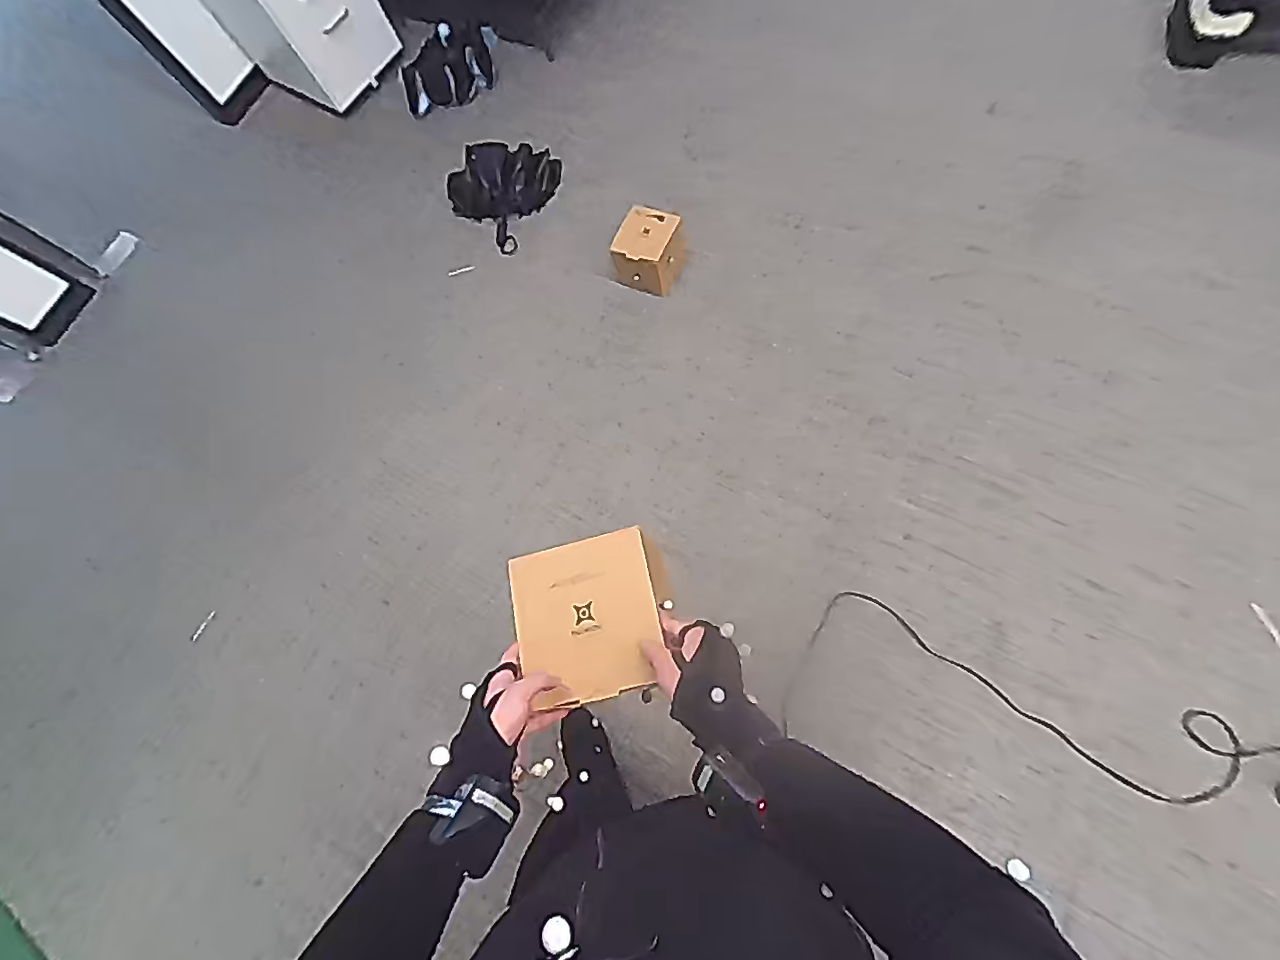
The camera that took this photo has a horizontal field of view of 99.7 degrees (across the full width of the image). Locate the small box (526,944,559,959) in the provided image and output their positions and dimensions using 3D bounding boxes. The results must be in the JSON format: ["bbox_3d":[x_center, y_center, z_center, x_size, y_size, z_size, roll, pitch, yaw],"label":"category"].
[{"bbox_3d":[-0.232,1.161,1.148,0.168,0.176,0.179,32,80,19],"label":"small box"}]

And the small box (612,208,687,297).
[{"bbox_3d":[0.037,-0.709,1.700,0.168,0.176,0.179,23,79,17],"label":"small box"}]

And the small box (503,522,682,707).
[{"bbox_3d":[-0.052,0.172,0.679,0.168,0.176,0.179,-16,68,7],"label":"small box"}]
